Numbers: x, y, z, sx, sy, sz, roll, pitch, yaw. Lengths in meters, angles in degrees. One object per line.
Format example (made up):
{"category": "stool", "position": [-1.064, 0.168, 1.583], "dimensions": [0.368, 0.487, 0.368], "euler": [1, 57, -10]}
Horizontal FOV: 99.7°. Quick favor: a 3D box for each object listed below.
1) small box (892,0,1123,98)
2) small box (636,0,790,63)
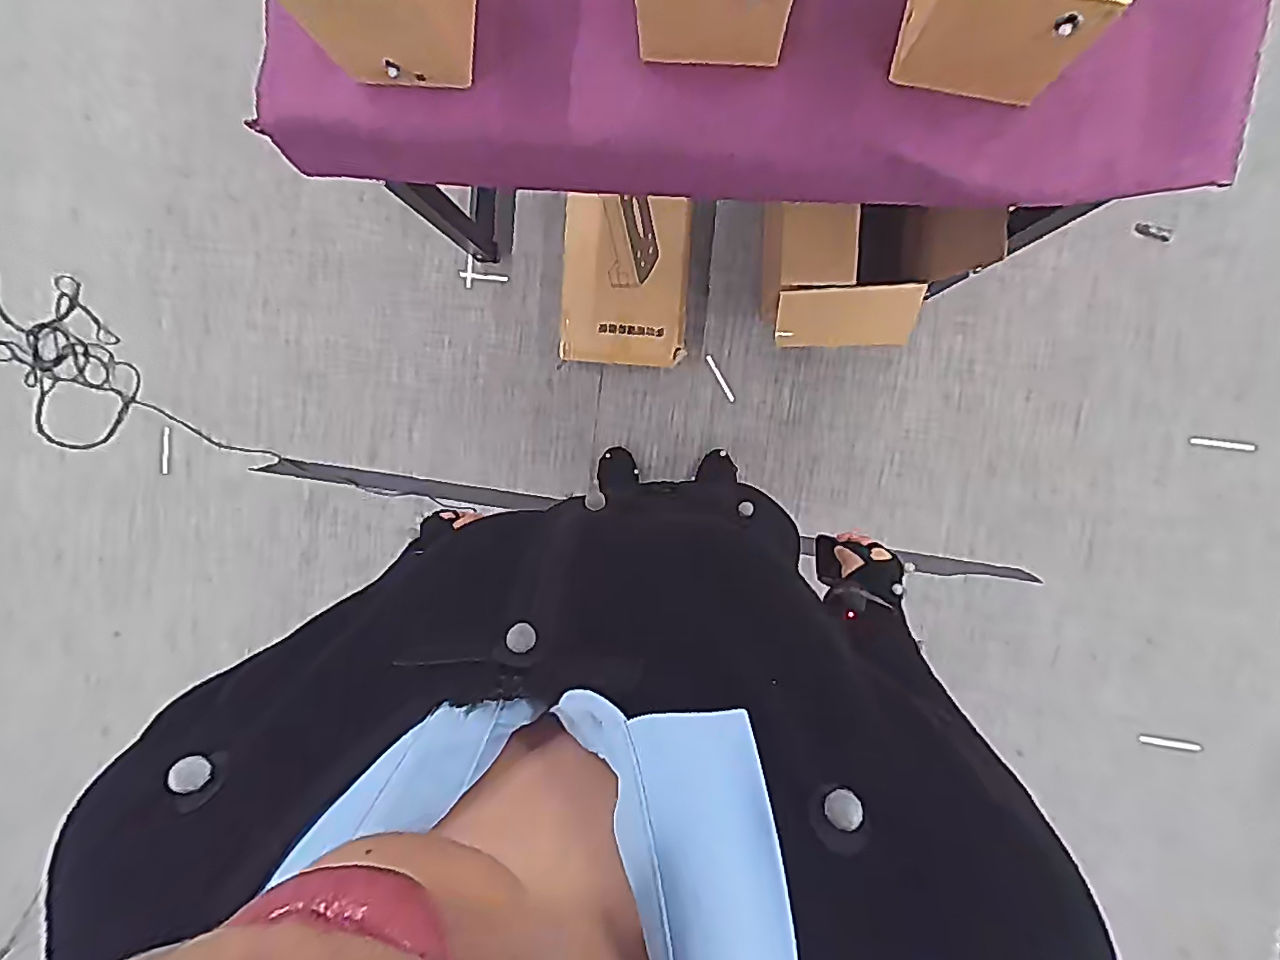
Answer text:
{"category": "small box", "position": [0.402, -0.554, 0.584], "dimensions": [0.179, 0.176, 0.168], "euler": [12, 96, 3]}
{"category": "small box", "position": [0.088, -0.606, 0.602], "dimensions": [0.179, 0.176, 0.168], "euler": [5, 93, 4]}
